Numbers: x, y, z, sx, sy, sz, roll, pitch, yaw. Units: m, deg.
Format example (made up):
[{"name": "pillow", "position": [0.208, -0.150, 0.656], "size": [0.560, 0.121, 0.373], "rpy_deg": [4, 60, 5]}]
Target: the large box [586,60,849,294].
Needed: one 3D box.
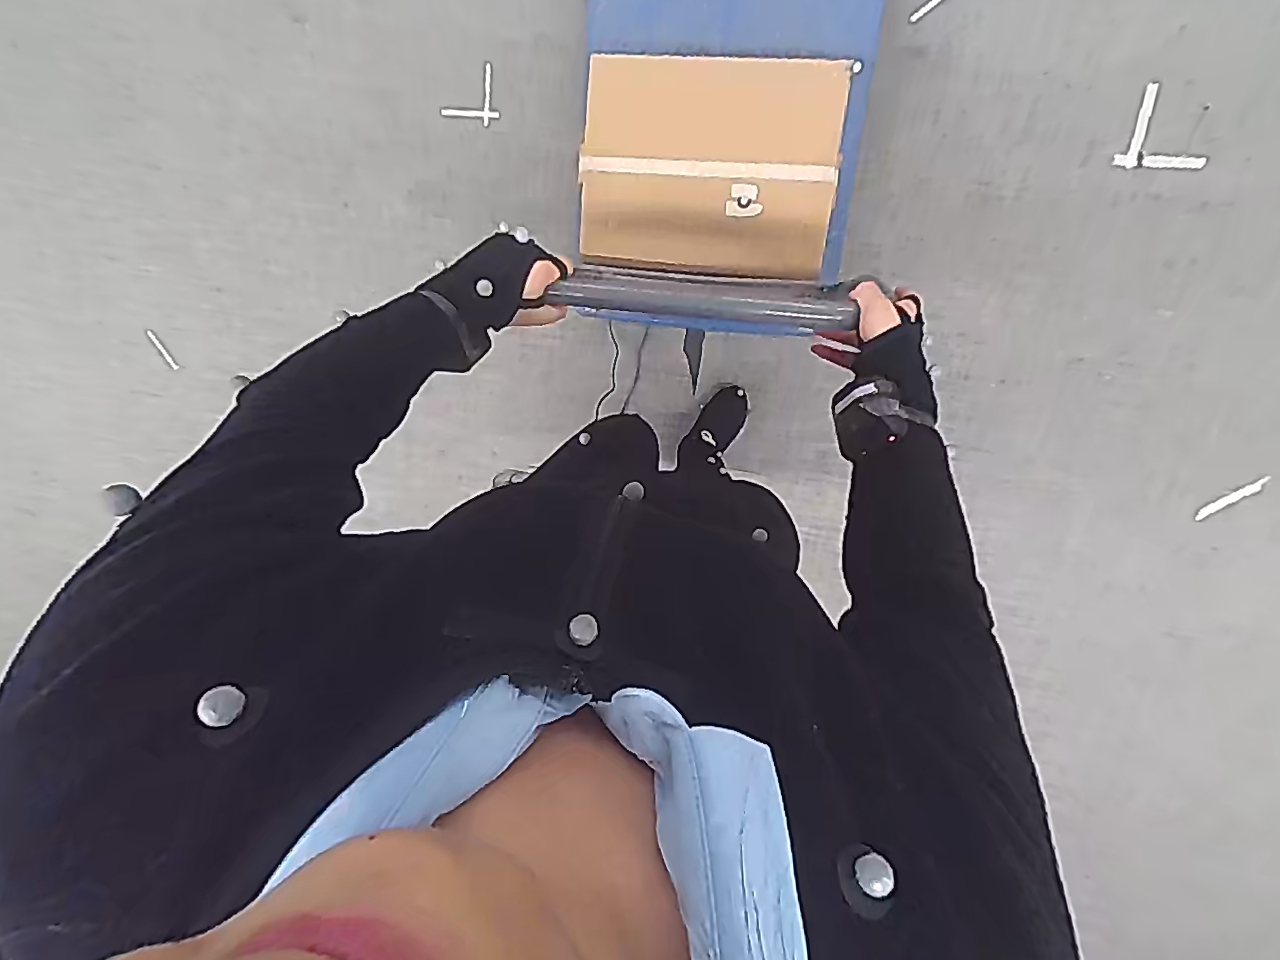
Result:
[{"name": "large box", "position": [0.129, -0.535, 1.017], "size": [0.408, 0.320, 0.320], "rpy_deg": [7, 105, 7]}]
